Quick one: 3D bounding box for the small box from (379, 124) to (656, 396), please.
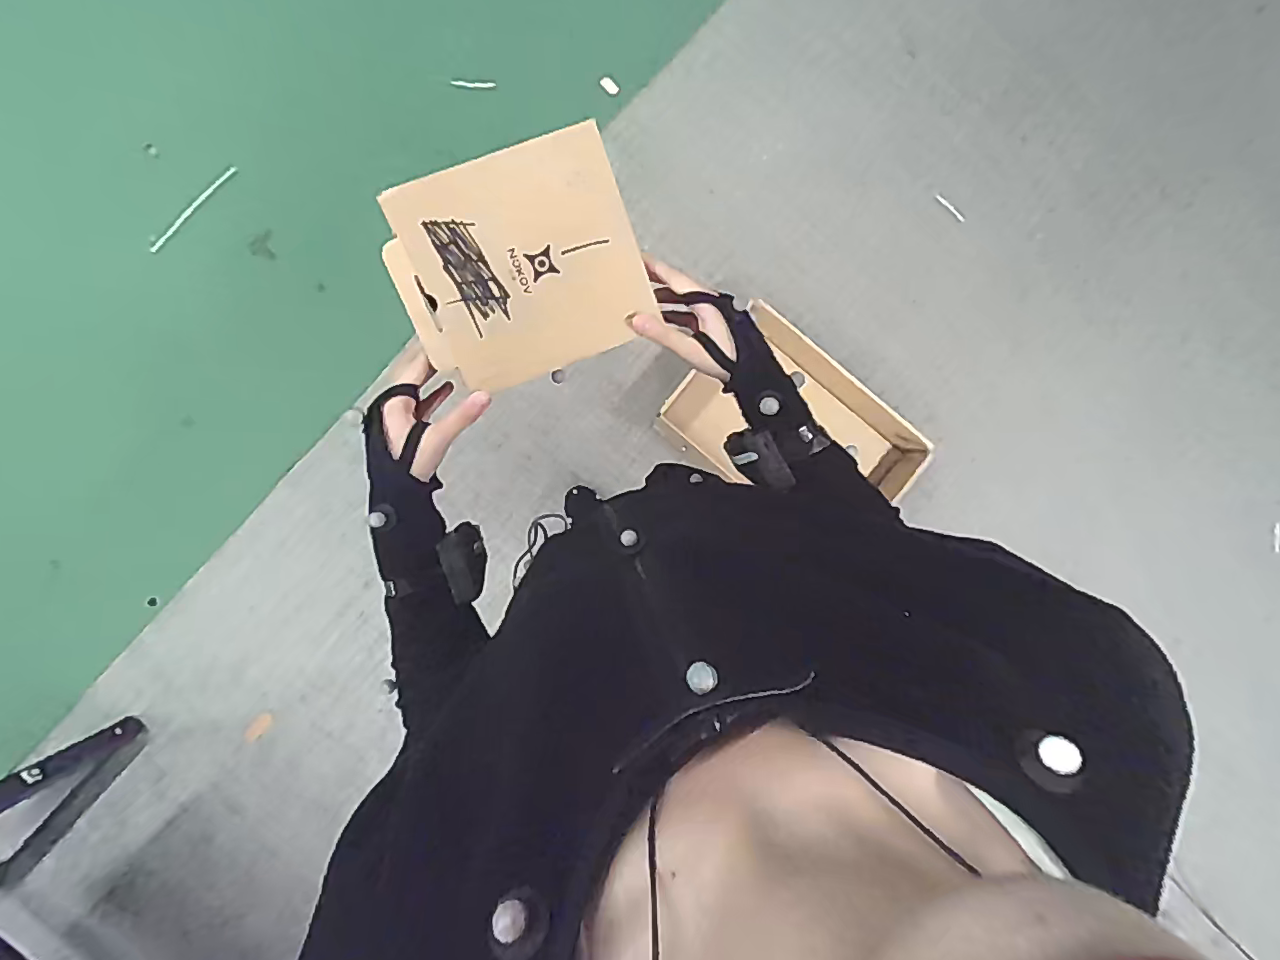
[{"bbox_3d":[-0.105,-0.190,0.511,0.179,0.176,0.168,-23,107,-5],"label":"small box"}]
